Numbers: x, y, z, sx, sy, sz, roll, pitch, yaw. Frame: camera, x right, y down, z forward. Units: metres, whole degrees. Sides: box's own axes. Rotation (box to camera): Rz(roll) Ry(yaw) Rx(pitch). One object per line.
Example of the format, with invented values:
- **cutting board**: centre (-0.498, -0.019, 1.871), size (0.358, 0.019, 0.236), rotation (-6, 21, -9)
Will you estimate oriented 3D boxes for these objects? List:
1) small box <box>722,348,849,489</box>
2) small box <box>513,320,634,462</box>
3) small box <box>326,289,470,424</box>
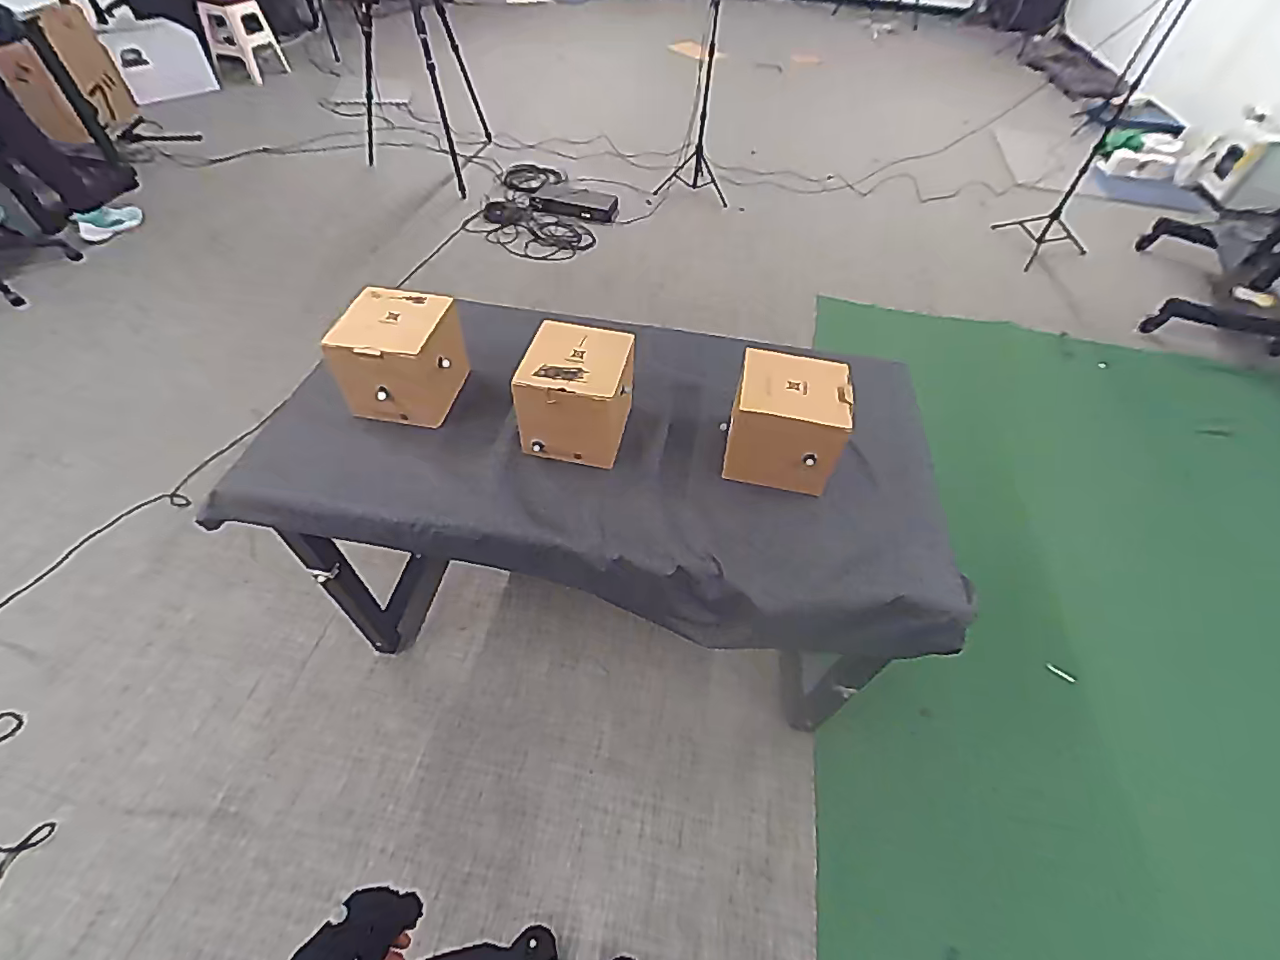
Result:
- **small box**: centre (0.248, -0.104, 0.943), size (0.179, 0.176, 0.168), rotation (9, 50, 6)
- **small box**: centre (-0.108, -0.154, 0.961), size (0.168, 0.176, 0.179), rotation (10, 50, 5)
- **small box**: centre (-0.430, -0.225, 1.000), size (0.168, 0.176, 0.179), rotation (8, 52, 3)
